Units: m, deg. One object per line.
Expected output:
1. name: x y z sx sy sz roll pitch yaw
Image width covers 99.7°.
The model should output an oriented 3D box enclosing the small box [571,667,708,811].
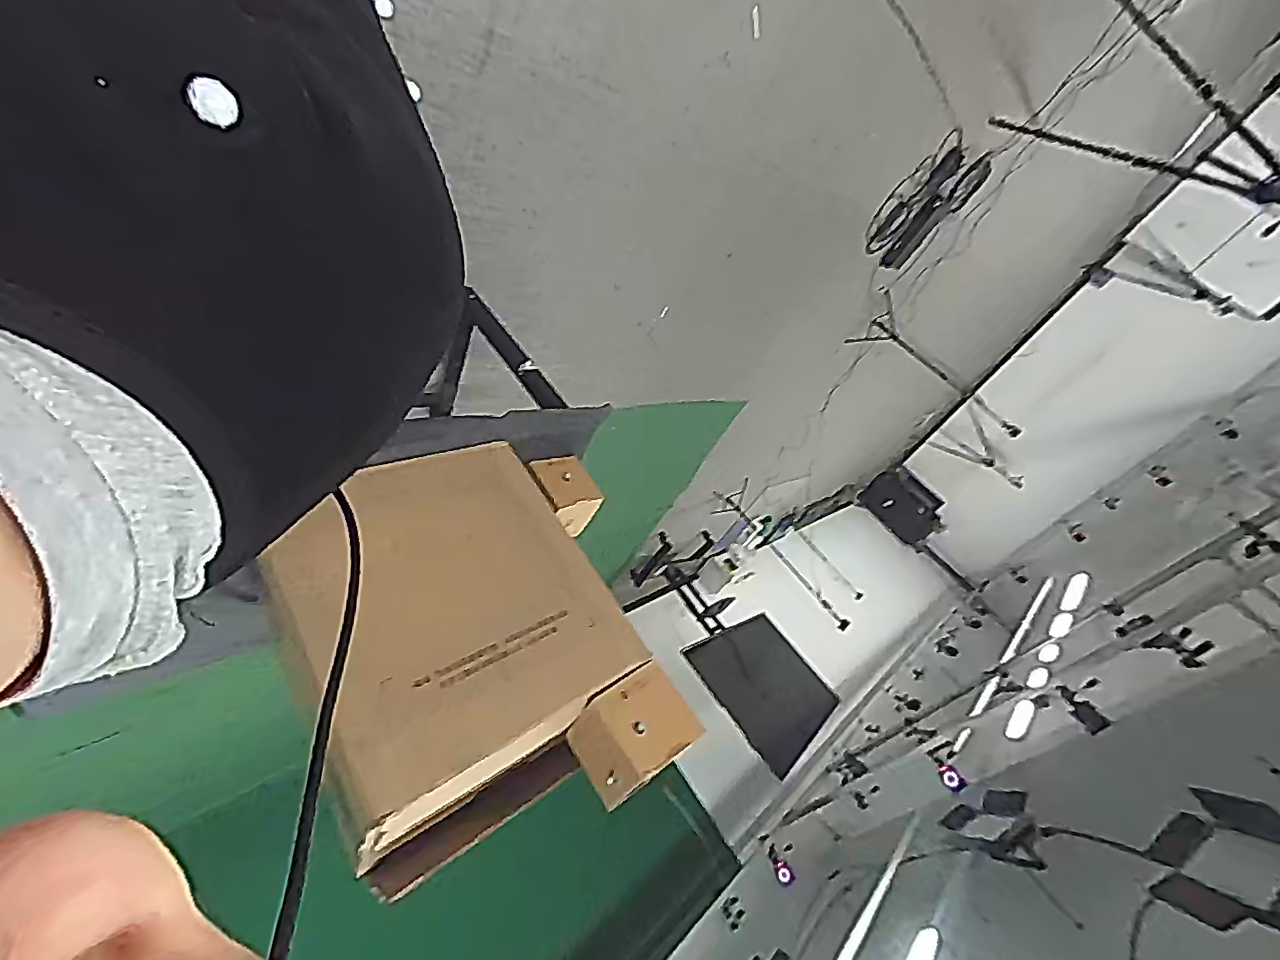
1. small box: -0.009 0.486 1.039 0.168 0.176 0.179 -17 149 -40
